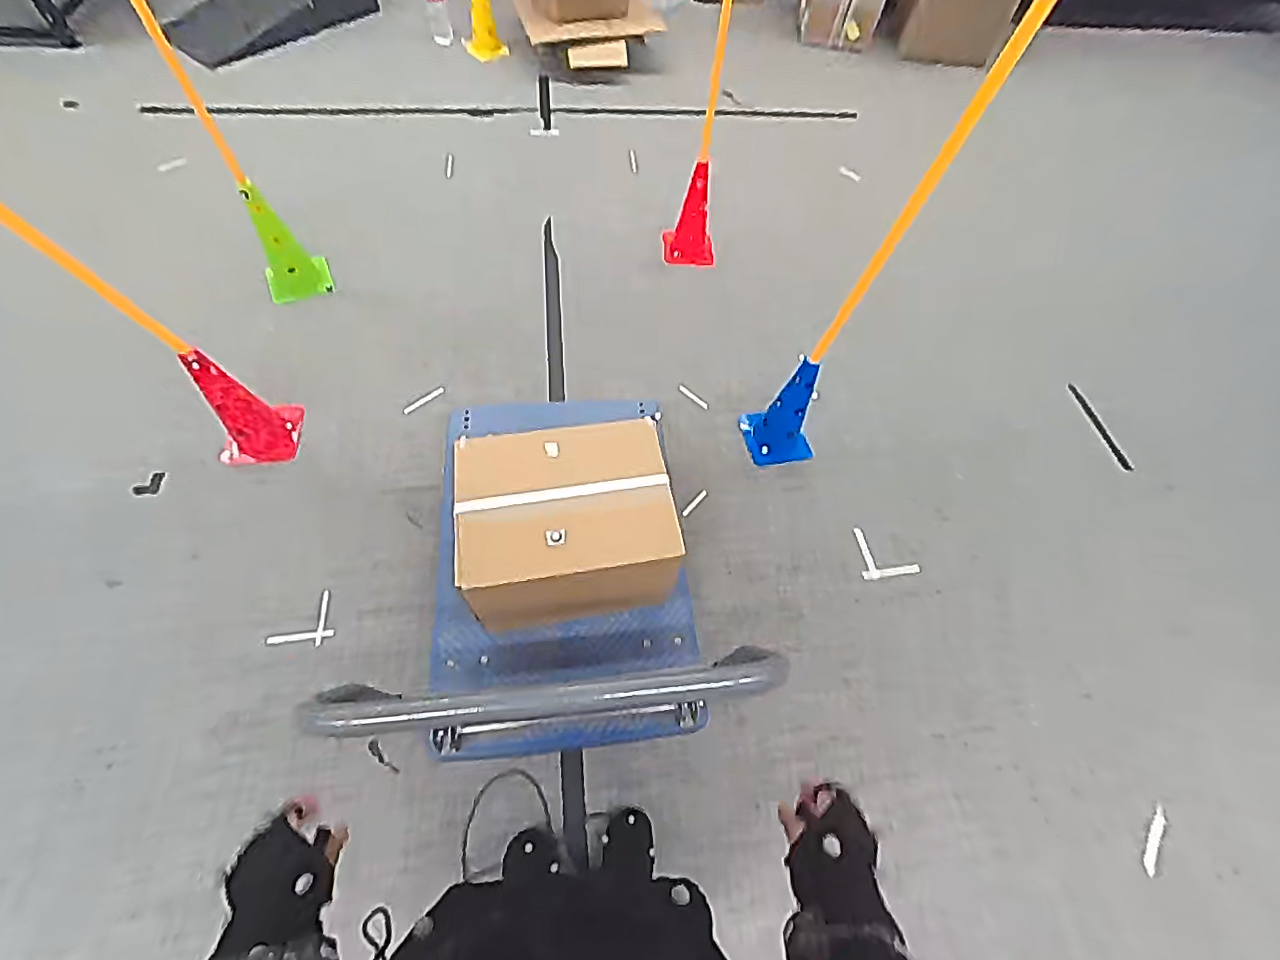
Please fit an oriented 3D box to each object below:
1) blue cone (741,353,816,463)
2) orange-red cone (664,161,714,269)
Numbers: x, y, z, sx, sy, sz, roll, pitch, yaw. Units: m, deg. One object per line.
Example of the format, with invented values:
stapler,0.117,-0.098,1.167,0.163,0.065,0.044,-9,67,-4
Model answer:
blue cone,0.445,-0.223,1.596,0.193,0.380,0.192,-7,60,-9
orange-red cone,0.210,-0.999,2.011,0.199,0.360,0.198,2,60,-5
